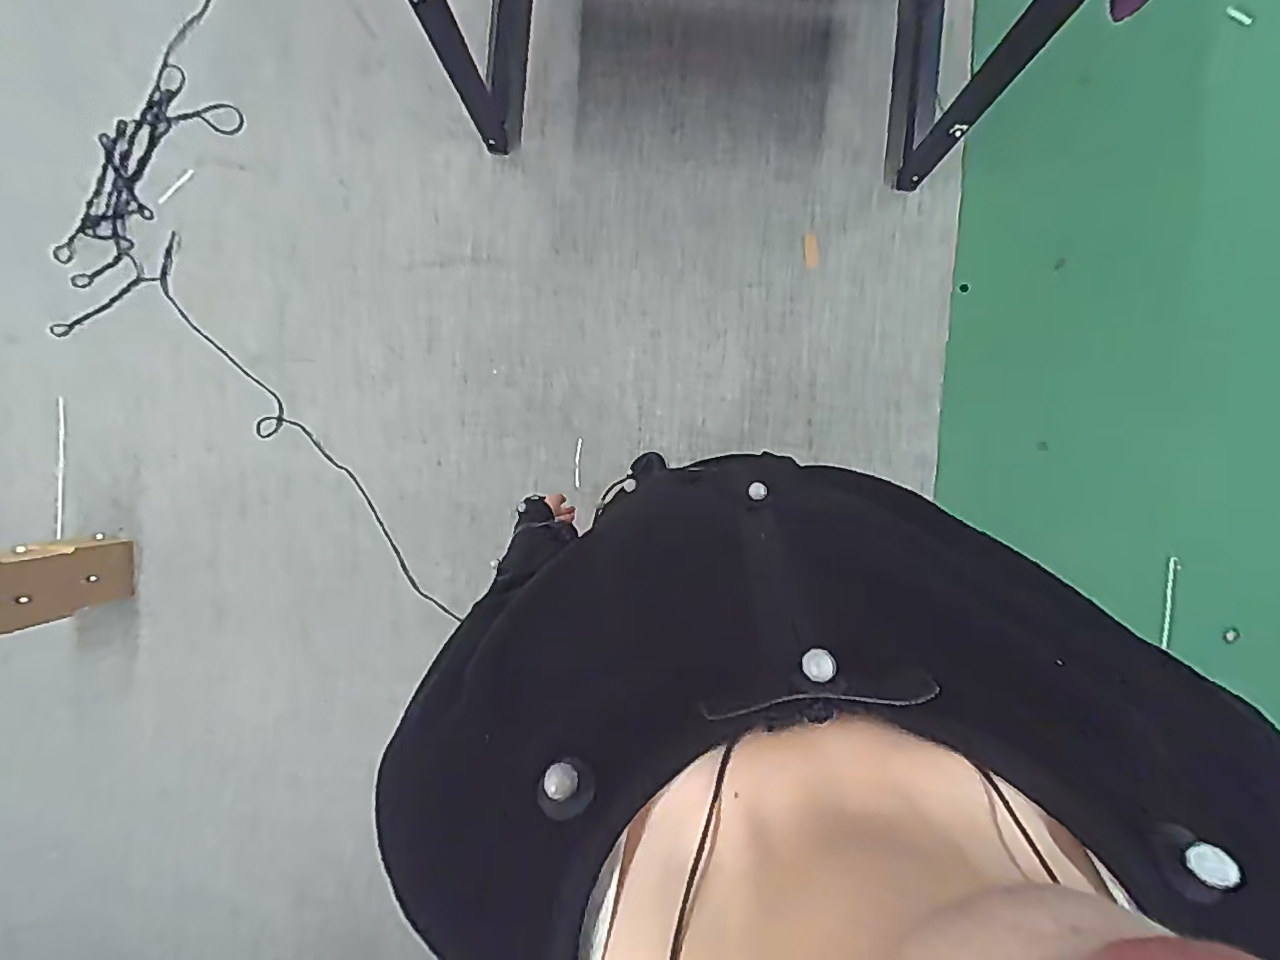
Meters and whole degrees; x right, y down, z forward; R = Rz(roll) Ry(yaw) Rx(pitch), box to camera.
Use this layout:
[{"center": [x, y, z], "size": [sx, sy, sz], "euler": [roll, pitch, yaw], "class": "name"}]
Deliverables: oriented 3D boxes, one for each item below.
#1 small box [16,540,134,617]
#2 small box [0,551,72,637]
[{"center": [-1.564, 0.268, 1.501], "size": [0.168, 0.176, 0.179], "euler": [3, 90, 2], "class": "small box"}, {"center": [-1.571, 0.280, 1.338], "size": [0.168, 0.176, 0.179], "euler": [3, 91, 1], "class": "small box"}]
